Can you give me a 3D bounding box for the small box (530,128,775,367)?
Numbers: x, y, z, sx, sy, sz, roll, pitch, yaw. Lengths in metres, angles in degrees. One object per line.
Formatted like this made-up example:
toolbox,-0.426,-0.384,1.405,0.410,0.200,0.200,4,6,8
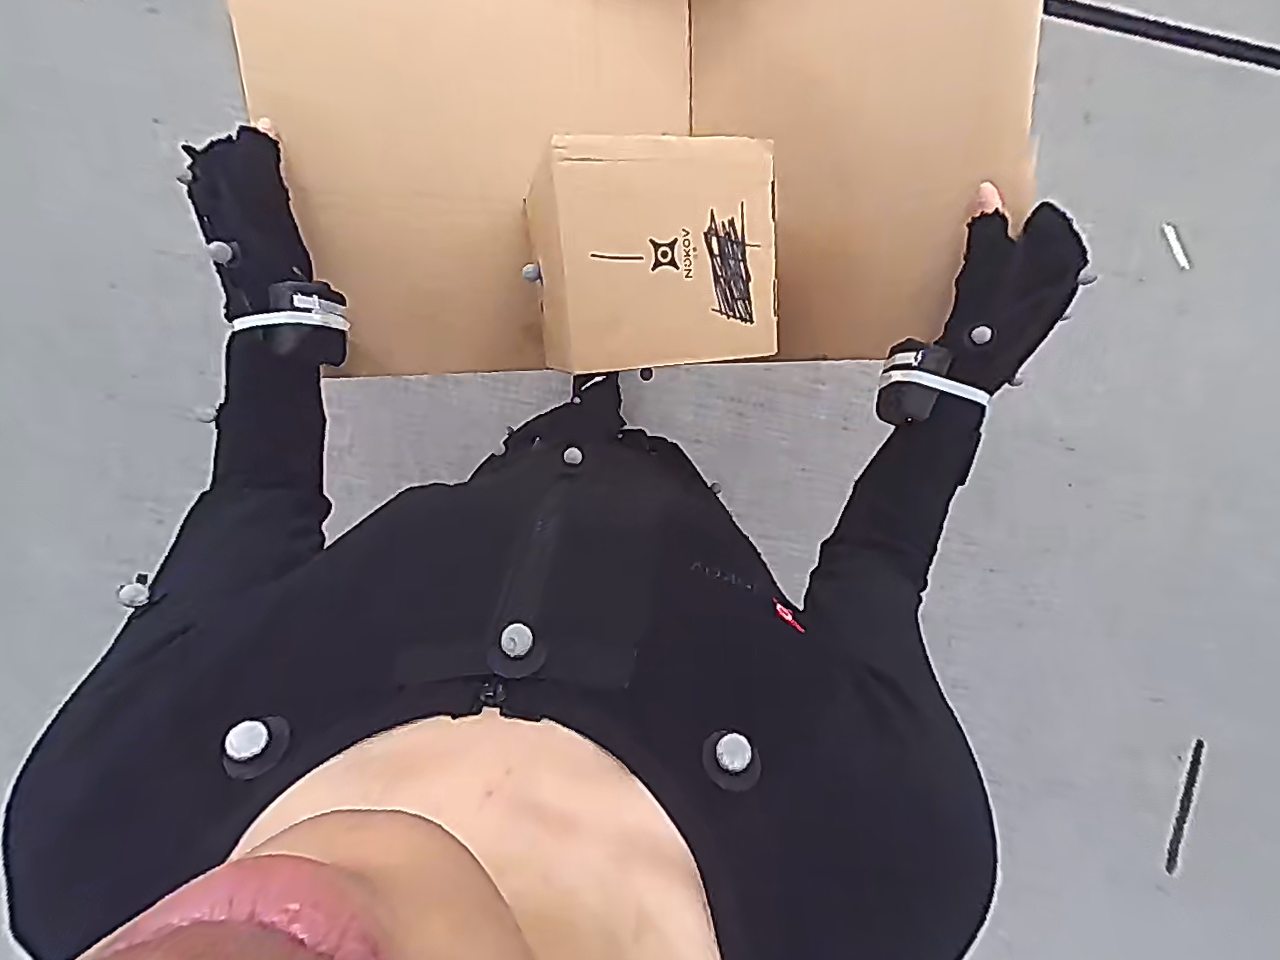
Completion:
small box,0.004,-0.196,0.493,0.179,0.176,0.168,-8,105,-14
